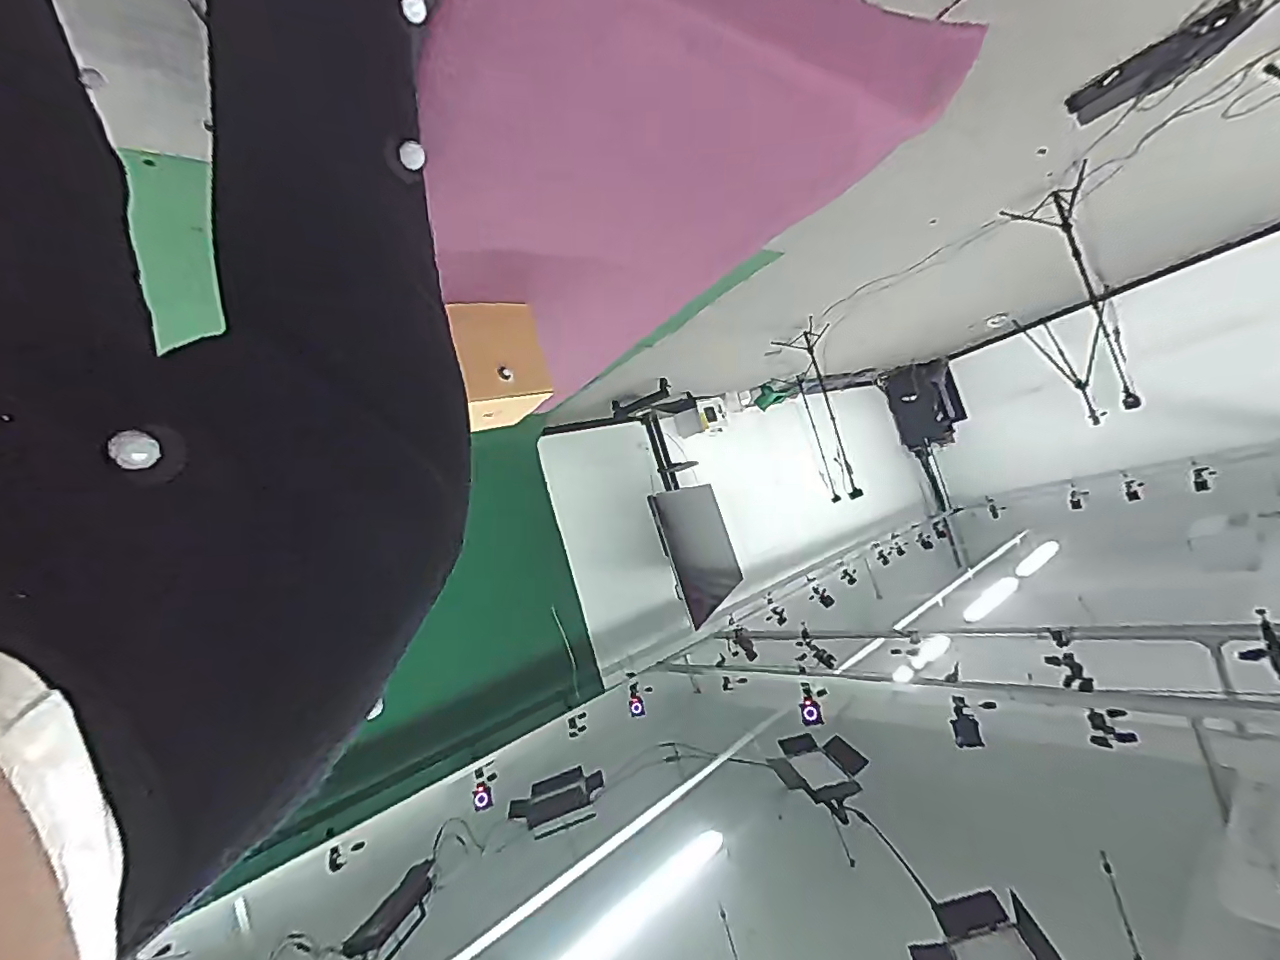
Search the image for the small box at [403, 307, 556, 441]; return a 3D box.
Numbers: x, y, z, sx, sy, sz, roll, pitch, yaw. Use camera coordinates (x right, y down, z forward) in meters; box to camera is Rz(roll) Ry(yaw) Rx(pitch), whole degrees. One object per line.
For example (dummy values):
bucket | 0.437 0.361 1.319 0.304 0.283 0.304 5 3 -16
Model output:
small box | -0.274 -0.180 0.915 0.179 0.176 0.168 -15 175 -39
